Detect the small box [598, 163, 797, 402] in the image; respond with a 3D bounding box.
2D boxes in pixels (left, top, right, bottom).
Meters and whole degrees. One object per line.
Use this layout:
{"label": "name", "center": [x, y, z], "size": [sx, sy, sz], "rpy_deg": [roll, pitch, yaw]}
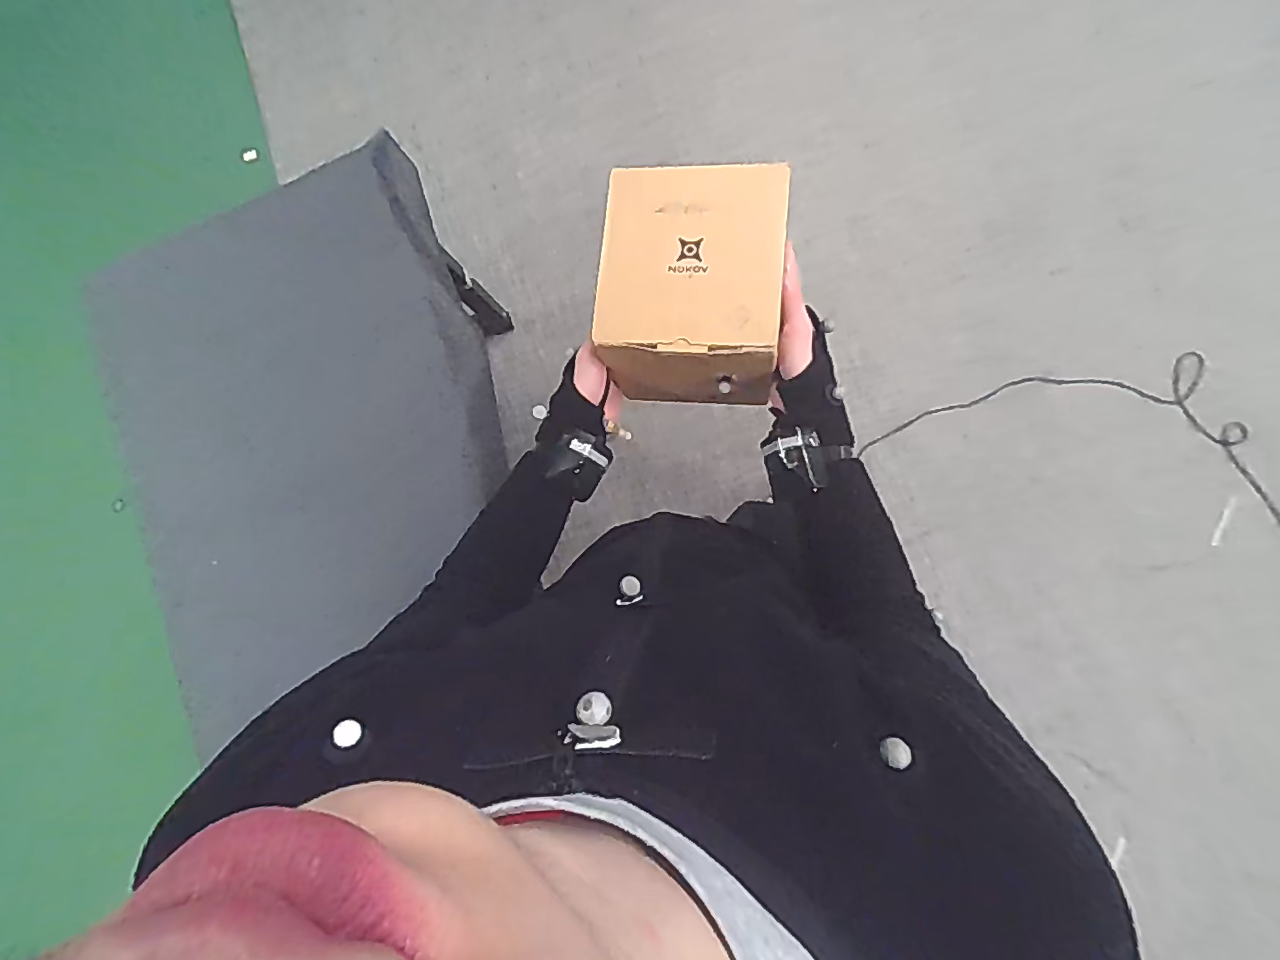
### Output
{"label": "small box", "center": [0.063, -0.188, 0.557], "size": [0.168, 0.176, 0.179], "rpy_deg": [5, 80, 9]}
